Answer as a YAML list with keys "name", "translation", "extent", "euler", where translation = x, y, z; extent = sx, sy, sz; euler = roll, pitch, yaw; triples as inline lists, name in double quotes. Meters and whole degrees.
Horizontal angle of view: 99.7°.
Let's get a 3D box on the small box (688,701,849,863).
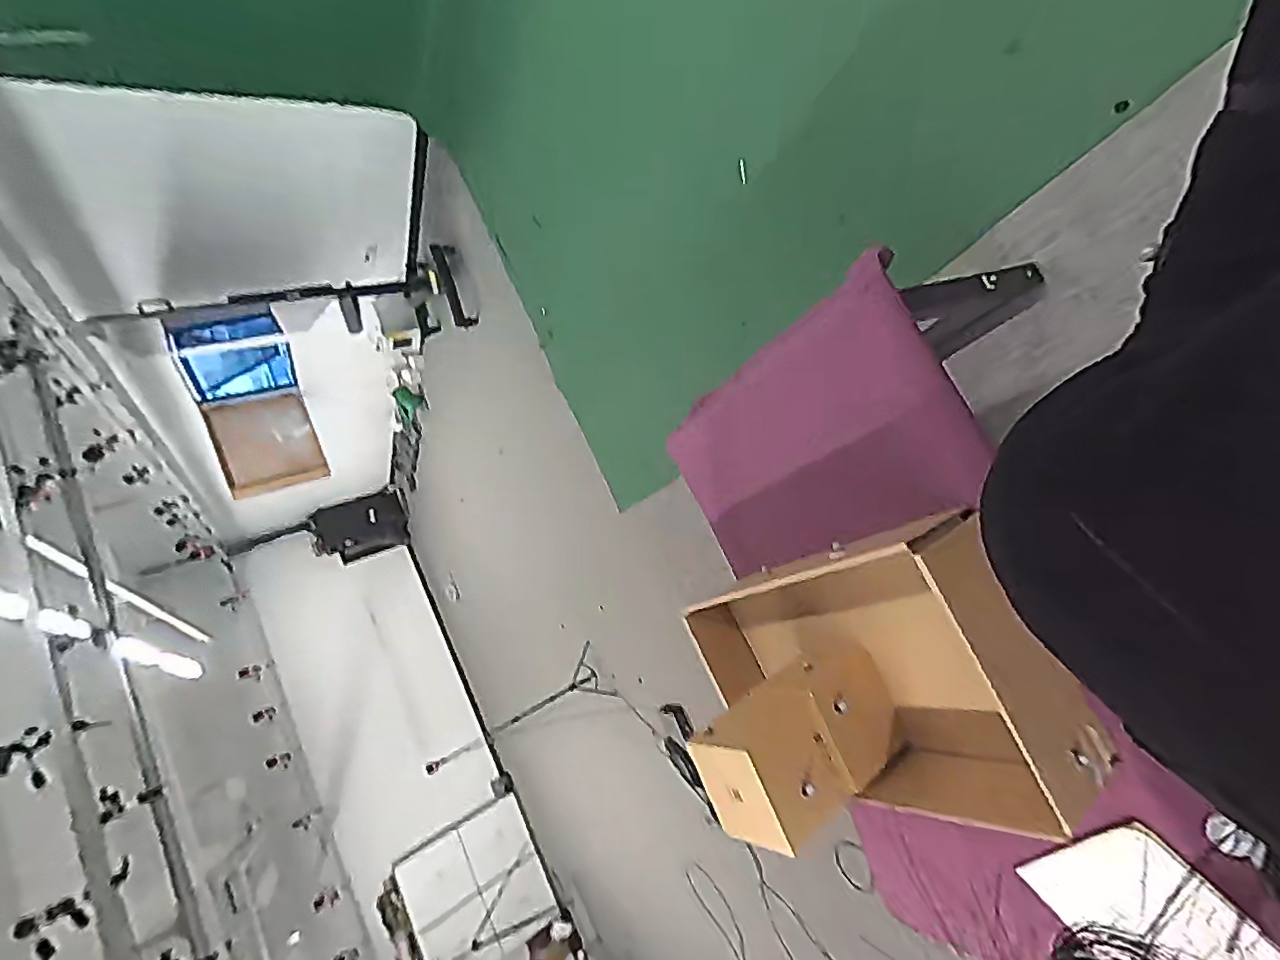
- name: "small box"
  translation: [0.219, 0.485, 0.902]
  extent: [0.179, 0.176, 0.168]
  euler: [-36, 76, 55]
